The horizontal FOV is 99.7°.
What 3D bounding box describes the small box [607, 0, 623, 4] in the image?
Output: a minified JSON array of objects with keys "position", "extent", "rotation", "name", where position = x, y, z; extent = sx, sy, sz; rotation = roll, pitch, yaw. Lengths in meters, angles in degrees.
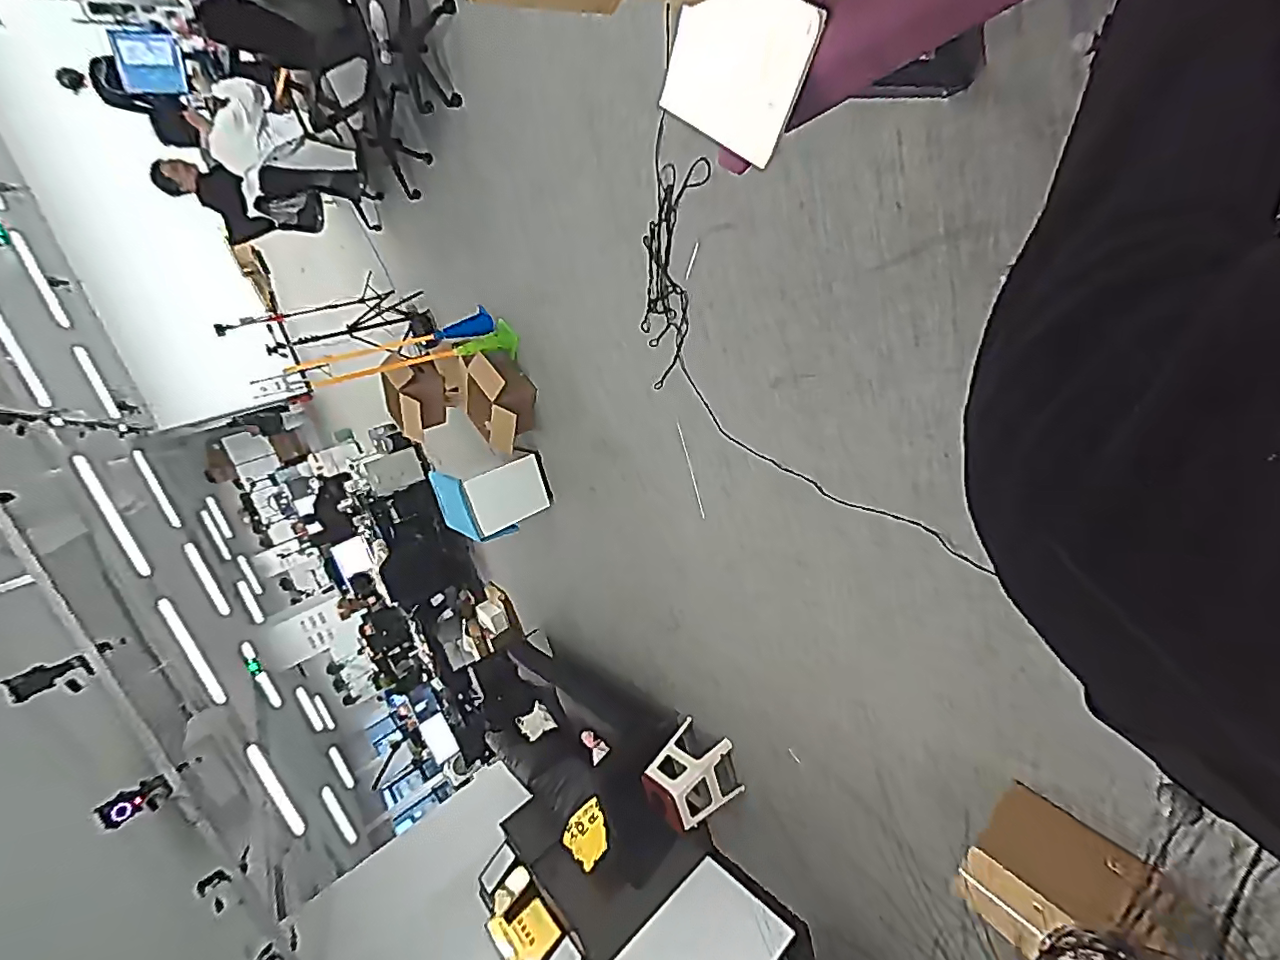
[{"position":[-0.072,-0.548,0.449],"extent":[0.168,0.176,0.179],"rotation":[-5,108,57],"name":"small box"}]
